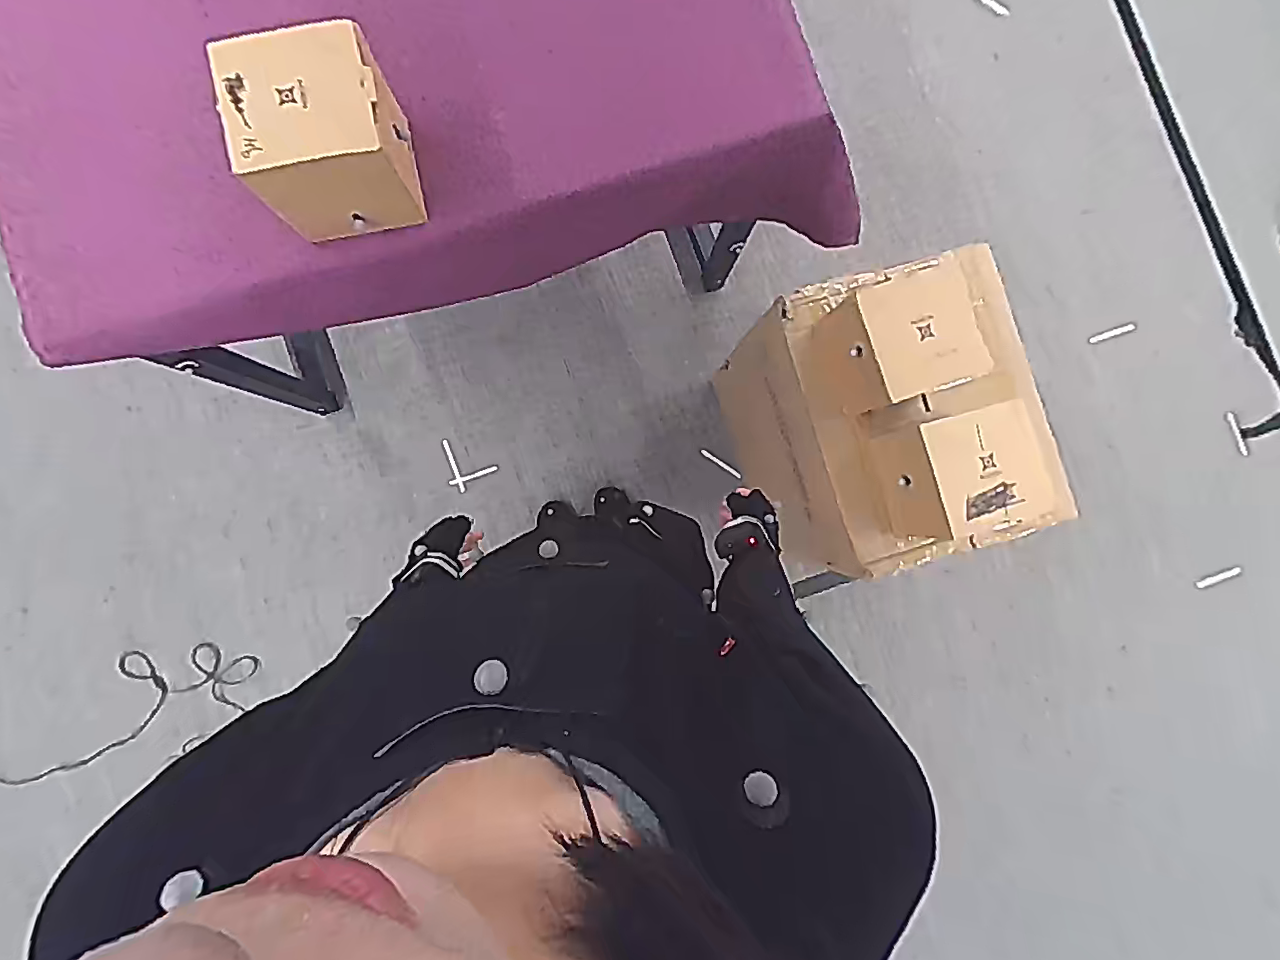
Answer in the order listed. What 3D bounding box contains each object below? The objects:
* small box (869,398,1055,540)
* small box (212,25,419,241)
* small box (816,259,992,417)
[{"bbox_3d":[0.495,-0.012,0.857,0.168,0.176,0.179,-15,86,-3],"label":"small box"},{"bbox_3d":[-0.411,-0.447,0.721,0.179,0.176,0.168,-13,87,-5],"label":"small box"},{"bbox_3d":[0.407,-0.216,0.865,0.168,0.176,0.179,-19,90,-3],"label":"small box"}]
